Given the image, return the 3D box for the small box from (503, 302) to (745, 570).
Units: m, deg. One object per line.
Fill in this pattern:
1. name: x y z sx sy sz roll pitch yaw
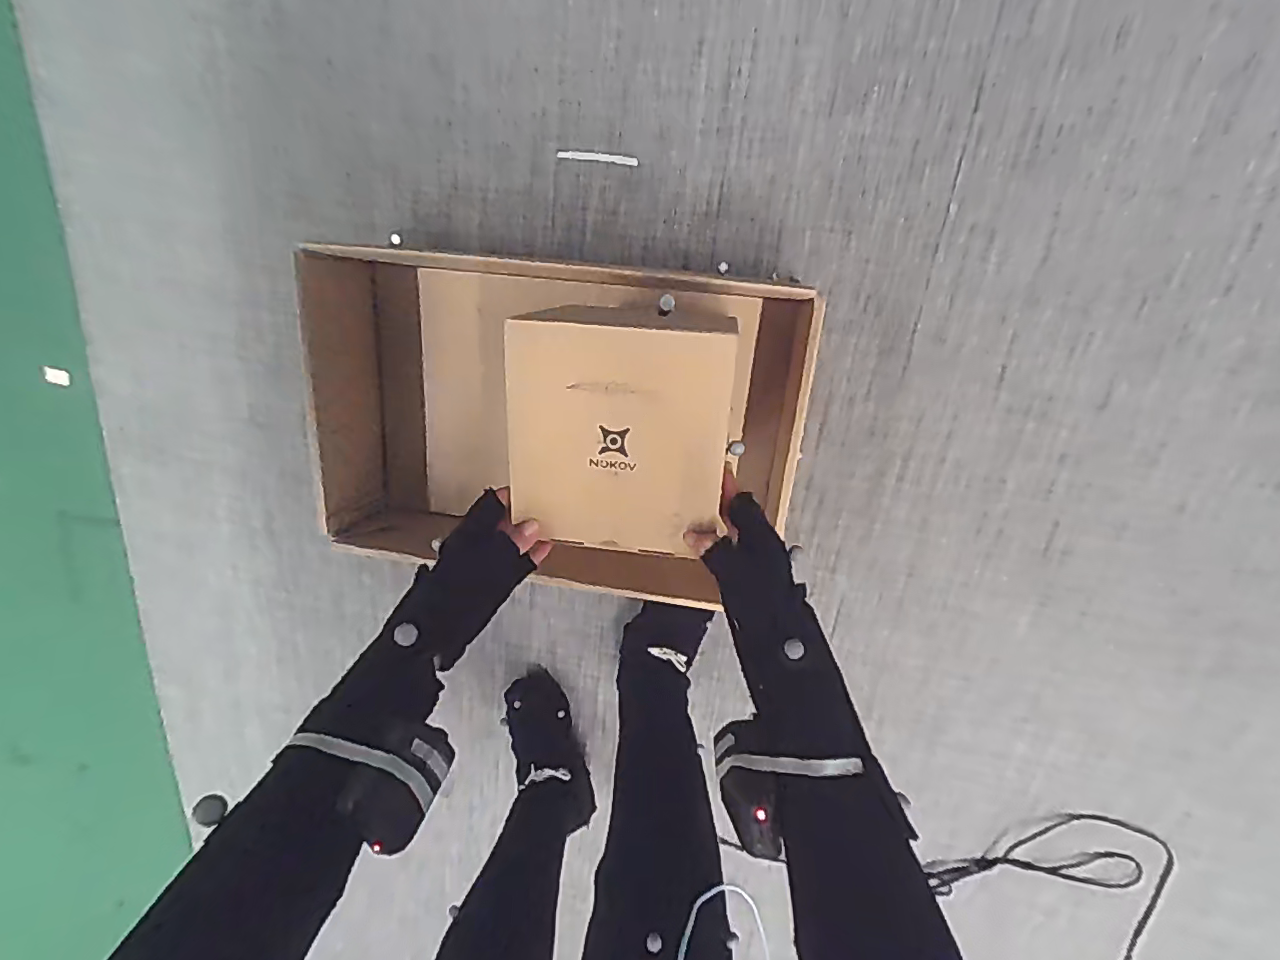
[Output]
1. small box: -0.003 -0.050 0.456 0.168 0.176 0.179 6 111 8
